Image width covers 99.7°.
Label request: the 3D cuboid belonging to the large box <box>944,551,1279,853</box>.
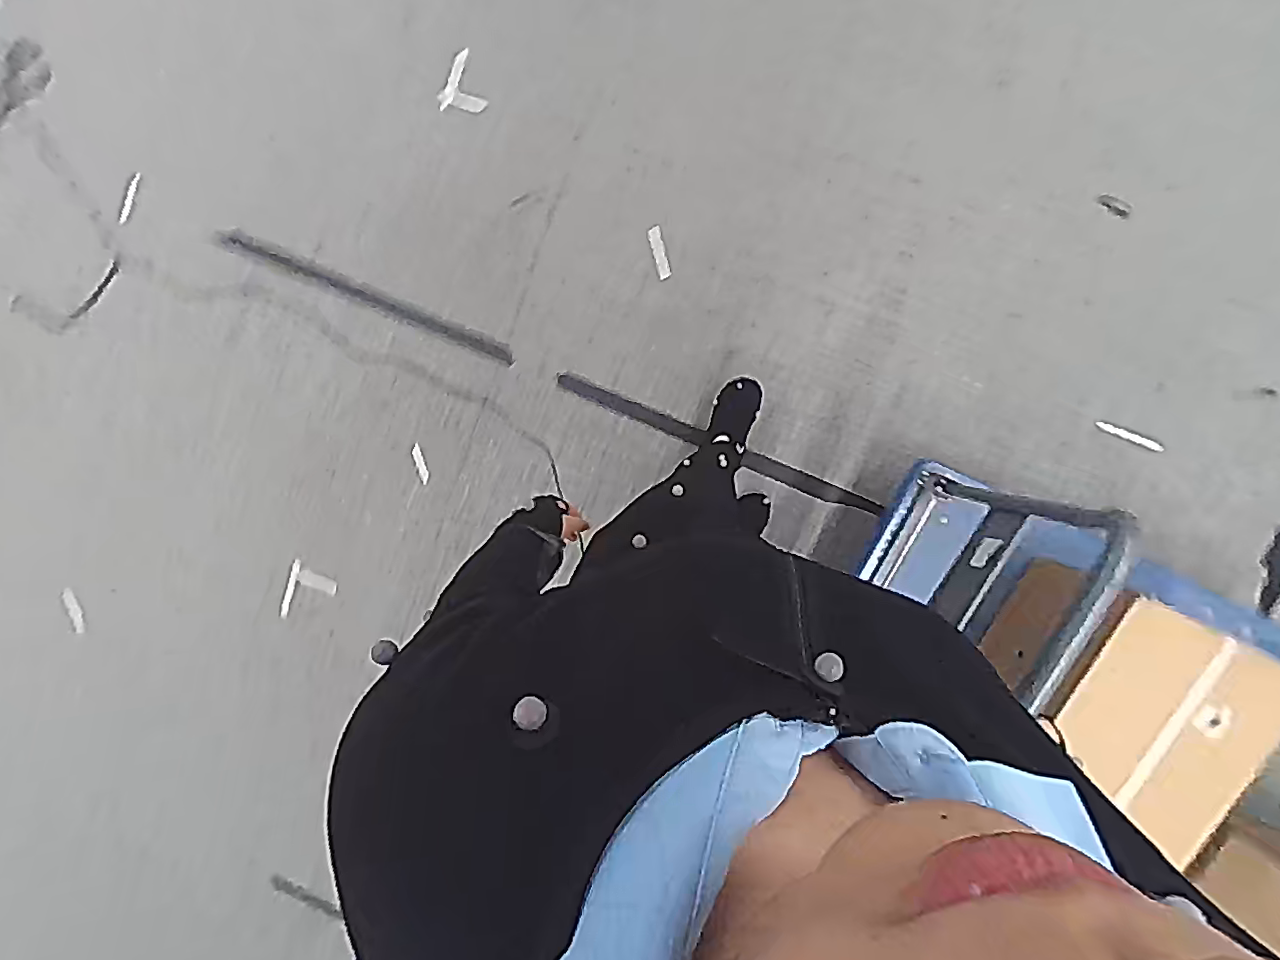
[{"bbox_3d":[0.910,0.410,1.094,0.320,0.320,0.408,28,96,4],"label":"large box"}]
